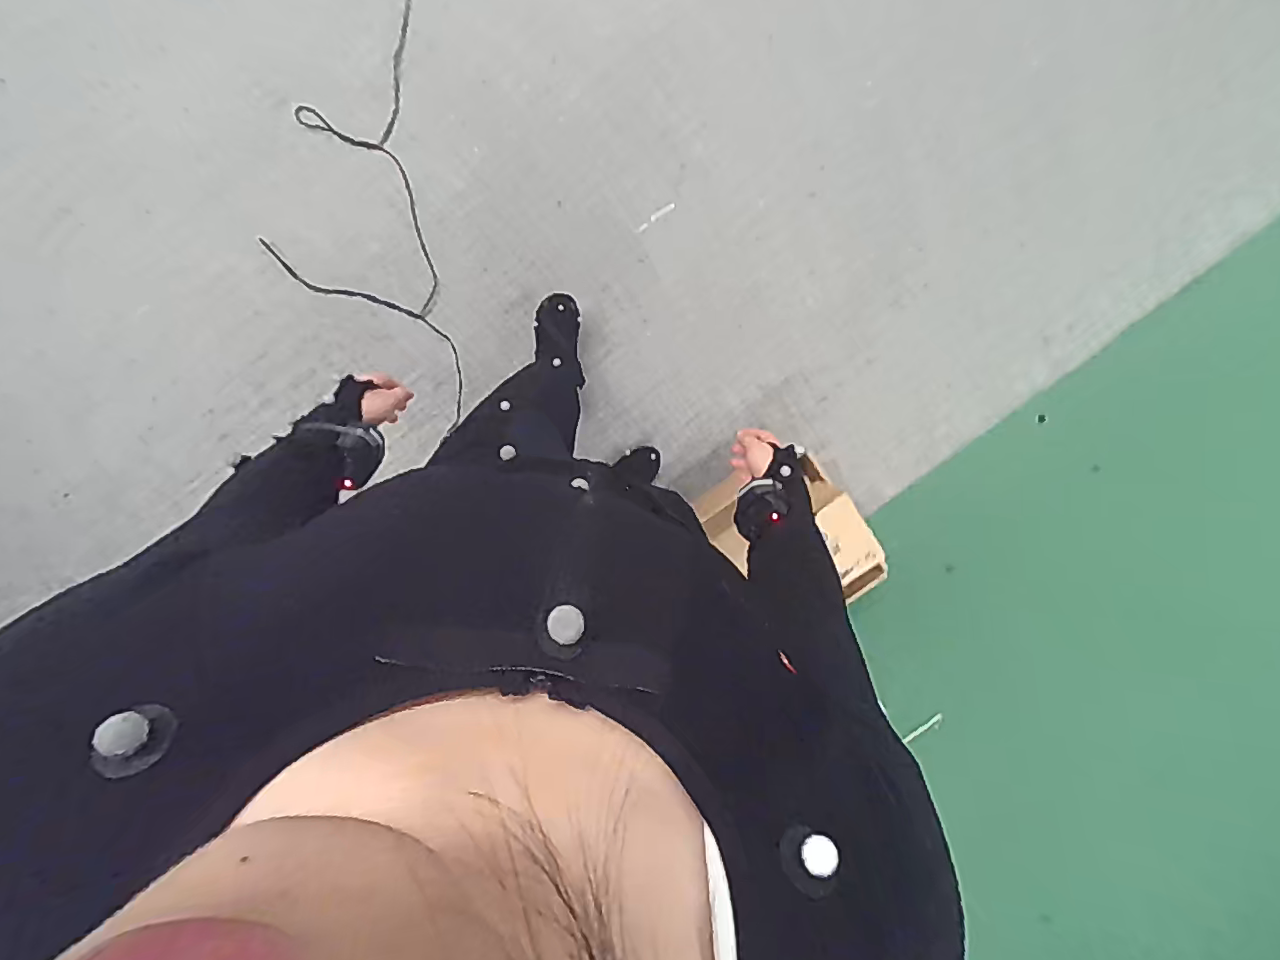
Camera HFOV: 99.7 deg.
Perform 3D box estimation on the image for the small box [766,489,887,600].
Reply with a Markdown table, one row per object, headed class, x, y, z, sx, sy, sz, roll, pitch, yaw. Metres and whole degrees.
| class | x | y | z | sx | sy | sz | roll | pitch | yaw |
| --- | --- | --- | --- | --- | --- | --- | --- | --- | --- |
| small box | 0.408 | 0.133 | 1.218 | 0.168 | 0.176 | 0.179 | -34 | 97 | 3 |
